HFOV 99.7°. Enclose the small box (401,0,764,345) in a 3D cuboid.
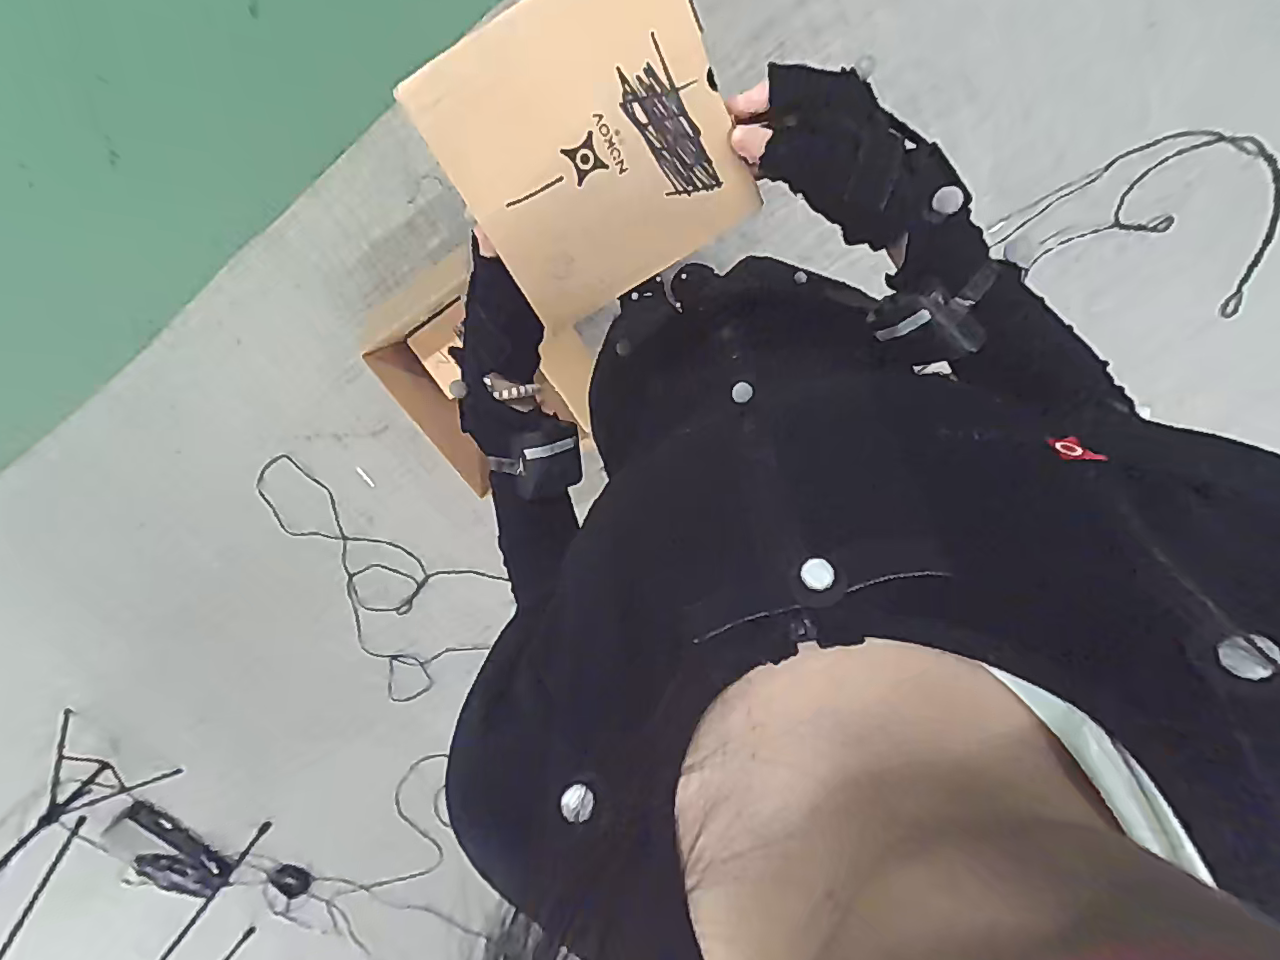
[{"bbox_3d":[-0.040,-0.234,0.400,0.179,0.176,0.168,-29,122,6],"label":"small box"}]
